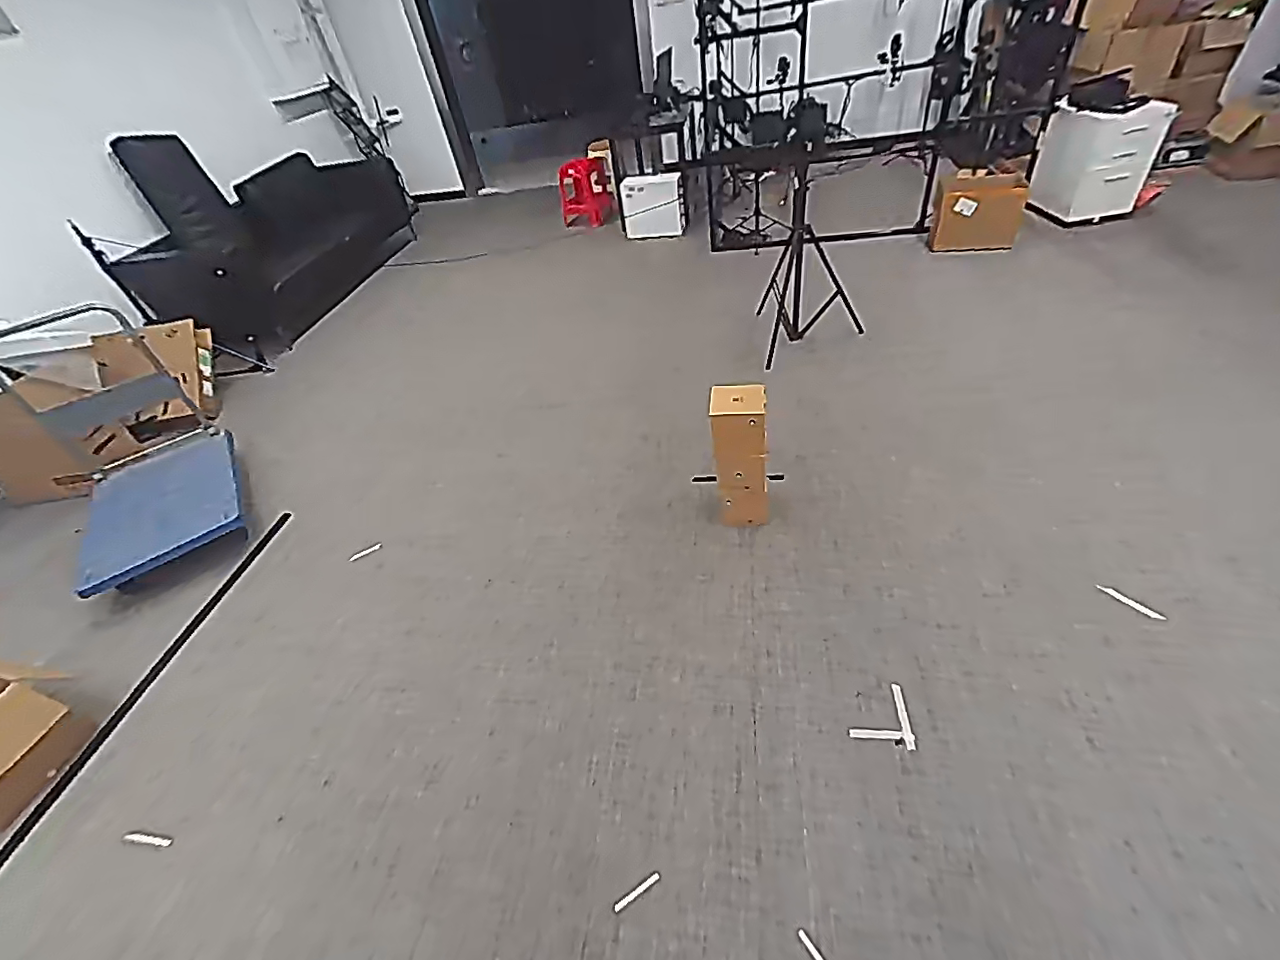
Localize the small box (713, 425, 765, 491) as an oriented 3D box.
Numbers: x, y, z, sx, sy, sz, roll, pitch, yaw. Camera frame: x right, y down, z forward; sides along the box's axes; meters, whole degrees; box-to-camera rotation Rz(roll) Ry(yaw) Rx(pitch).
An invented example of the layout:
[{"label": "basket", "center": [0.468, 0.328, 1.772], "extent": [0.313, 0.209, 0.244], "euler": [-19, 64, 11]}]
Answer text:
[{"label": "small box", "center": [0.353, -0.076, 1.901], "extent": [0.168, 0.176, 0.179], "euler": [2, 43, 14]}]

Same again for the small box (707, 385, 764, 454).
[{"label": "small box", "center": [0.320, -0.197, 1.797], "extent": [0.179, 0.176, 0.168], "euler": [-1, 43, 12]}]
